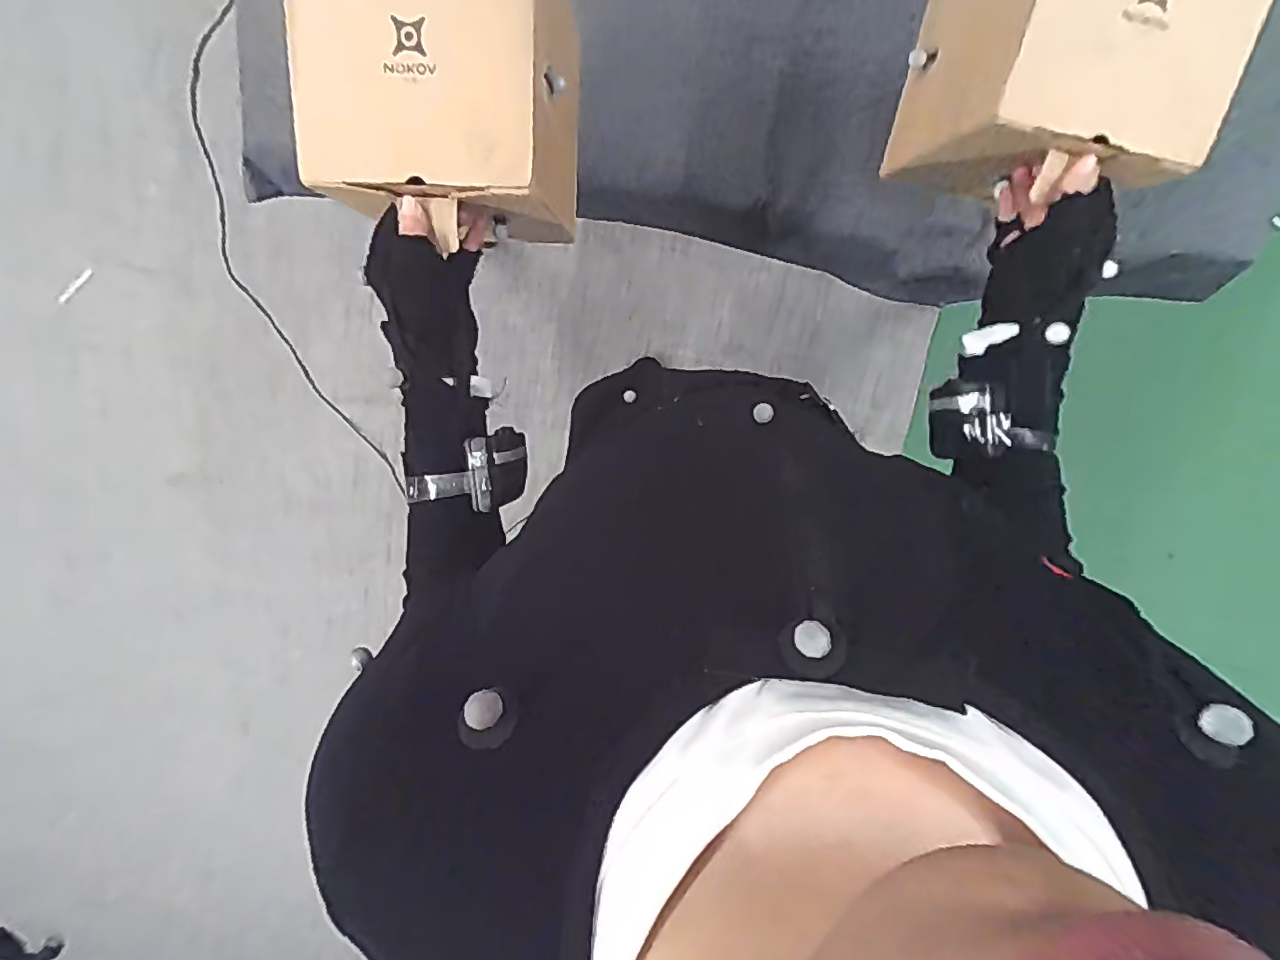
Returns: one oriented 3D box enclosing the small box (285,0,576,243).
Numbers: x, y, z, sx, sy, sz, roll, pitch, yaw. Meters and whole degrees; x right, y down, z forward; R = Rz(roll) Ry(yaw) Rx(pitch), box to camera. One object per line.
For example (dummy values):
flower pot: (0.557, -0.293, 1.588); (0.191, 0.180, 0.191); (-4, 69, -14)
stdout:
small box: (-0.145, -0.297, 0.429); (0.168, 0.176, 0.179); (3, 101, 1)
